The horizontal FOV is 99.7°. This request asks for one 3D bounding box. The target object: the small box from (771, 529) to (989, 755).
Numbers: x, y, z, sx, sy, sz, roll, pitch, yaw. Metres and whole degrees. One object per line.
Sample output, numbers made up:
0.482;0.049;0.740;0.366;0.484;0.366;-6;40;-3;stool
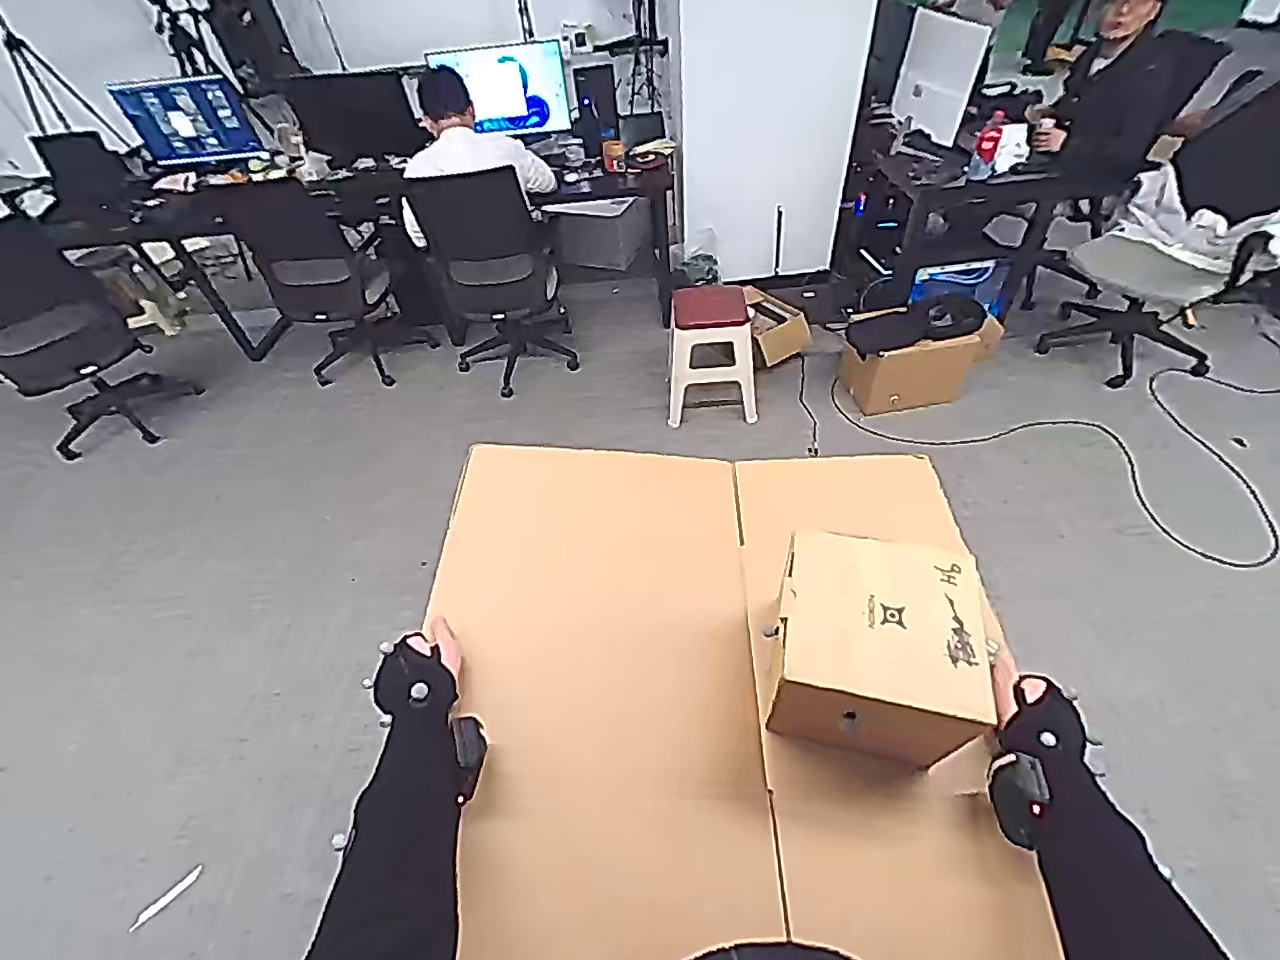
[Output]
0.238;0.175;0.579;0.179;0.176;0.168;7;53;14;small box
